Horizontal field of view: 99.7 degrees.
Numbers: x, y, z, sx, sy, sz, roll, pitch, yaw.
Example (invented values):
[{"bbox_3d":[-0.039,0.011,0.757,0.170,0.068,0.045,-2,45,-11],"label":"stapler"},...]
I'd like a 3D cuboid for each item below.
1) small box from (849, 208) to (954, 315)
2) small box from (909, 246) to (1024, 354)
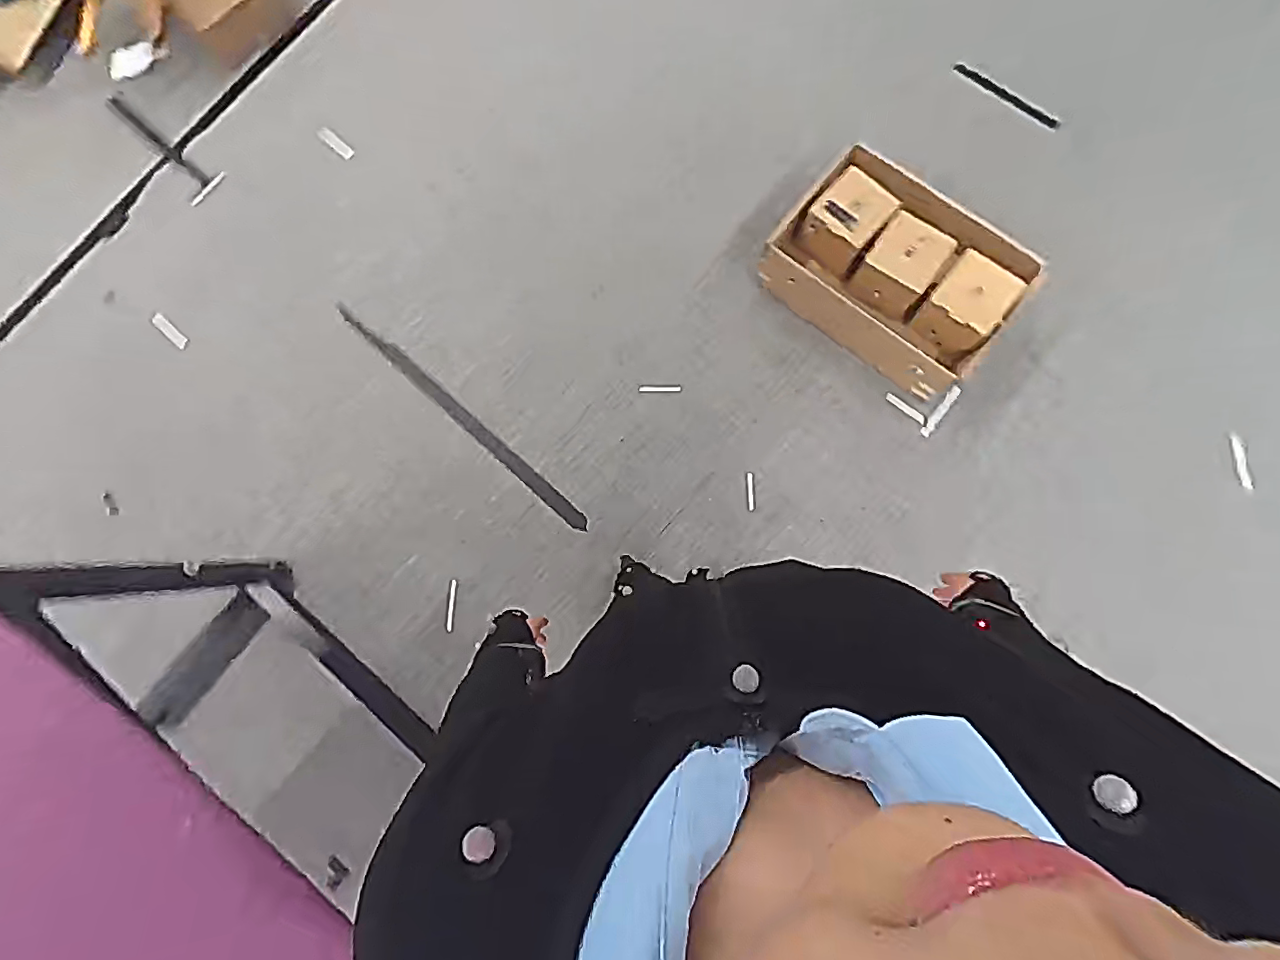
[{"bbox_3d":[0.694,-0.581,1.462,0.168,0.176,0.179,35,85,6],"label":"small box"},{"bbox_3d":[0.854,-0.470,1.436,0.168,0.176,0.179,38,87,10],"label":"small box"}]
